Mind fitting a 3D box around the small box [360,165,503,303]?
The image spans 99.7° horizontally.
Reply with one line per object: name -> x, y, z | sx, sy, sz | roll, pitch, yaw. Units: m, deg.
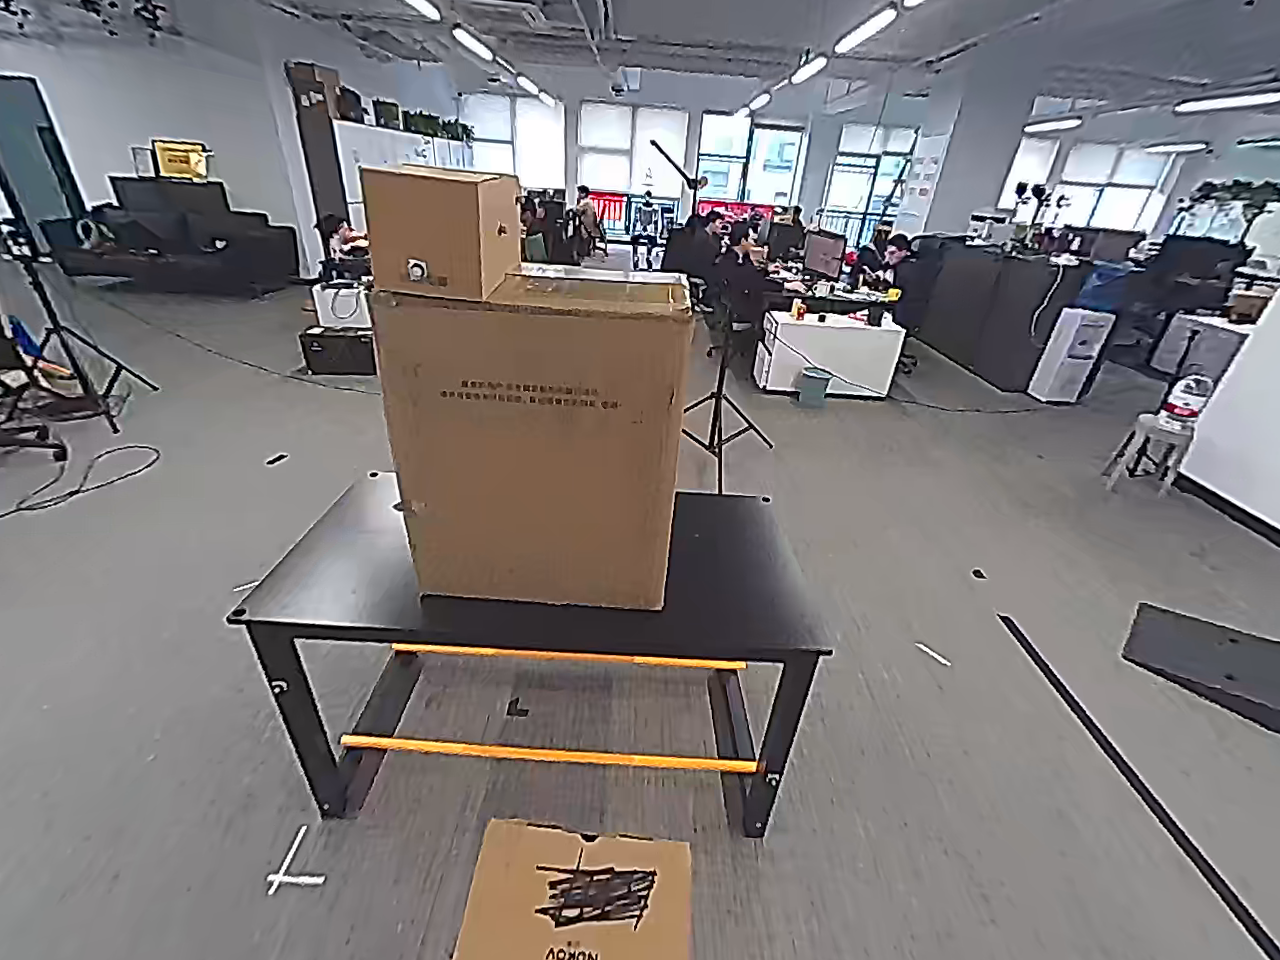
small box -> -0.316, -0.392, 0.857 | 0.168, 0.176, 0.179 | 4, 32, -4

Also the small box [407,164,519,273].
small box -> -0.332, -0.500, 1.042 | 0.168, 0.176, 0.179 | 3, 28, -3

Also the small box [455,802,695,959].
small box -> -0.051, 0.385, 0.423 | 0.168, 0.176, 0.179 | 6, 41, -1
